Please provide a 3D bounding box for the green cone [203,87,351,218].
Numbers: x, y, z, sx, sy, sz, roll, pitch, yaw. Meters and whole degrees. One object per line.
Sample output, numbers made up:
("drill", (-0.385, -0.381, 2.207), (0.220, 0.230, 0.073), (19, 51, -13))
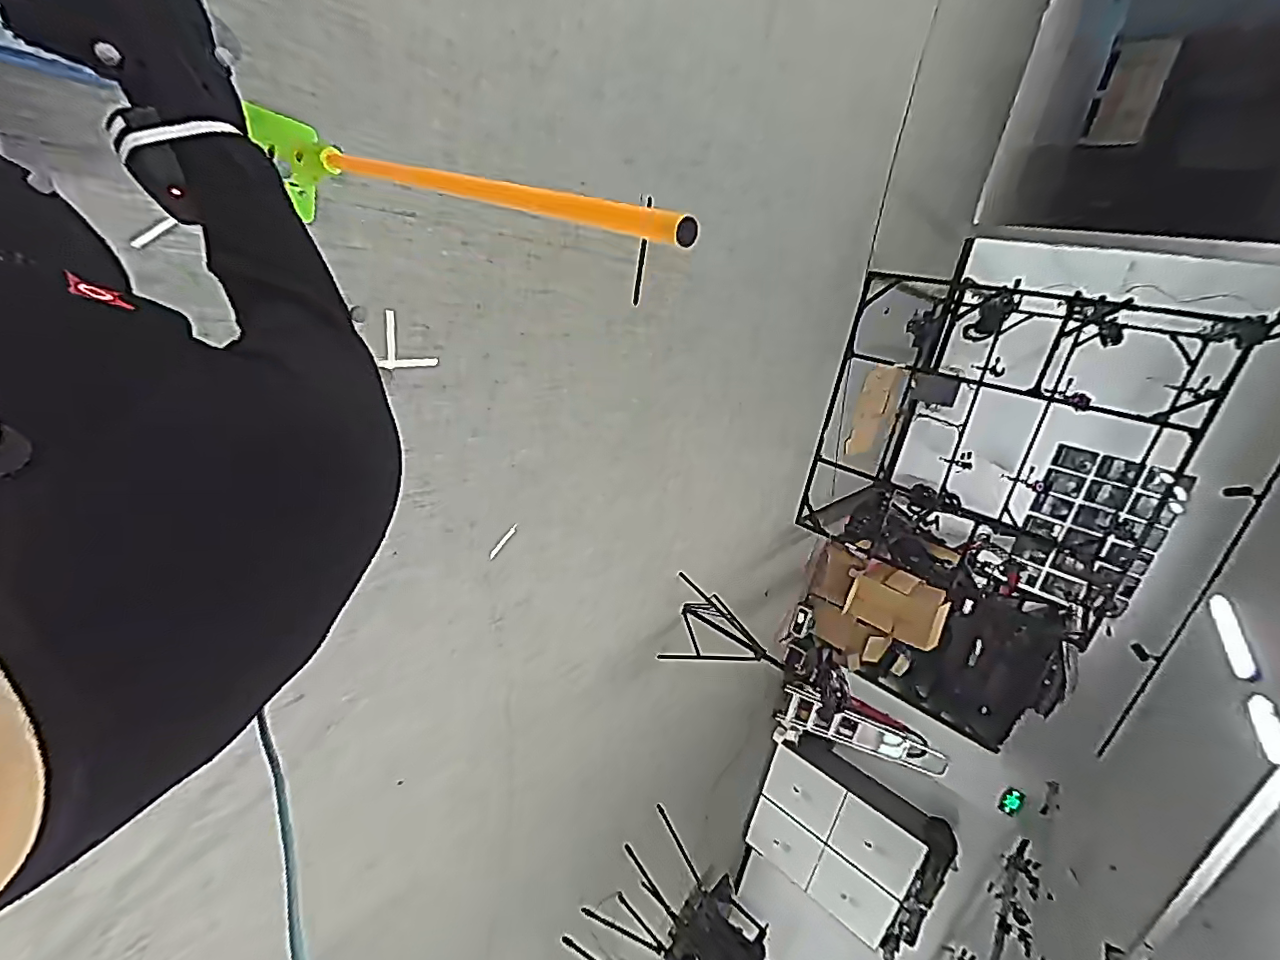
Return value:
("green cone", (-0.669, -0.624, 1.048), (0.202, 0.368, 0.200), (-10, 118, -51))
